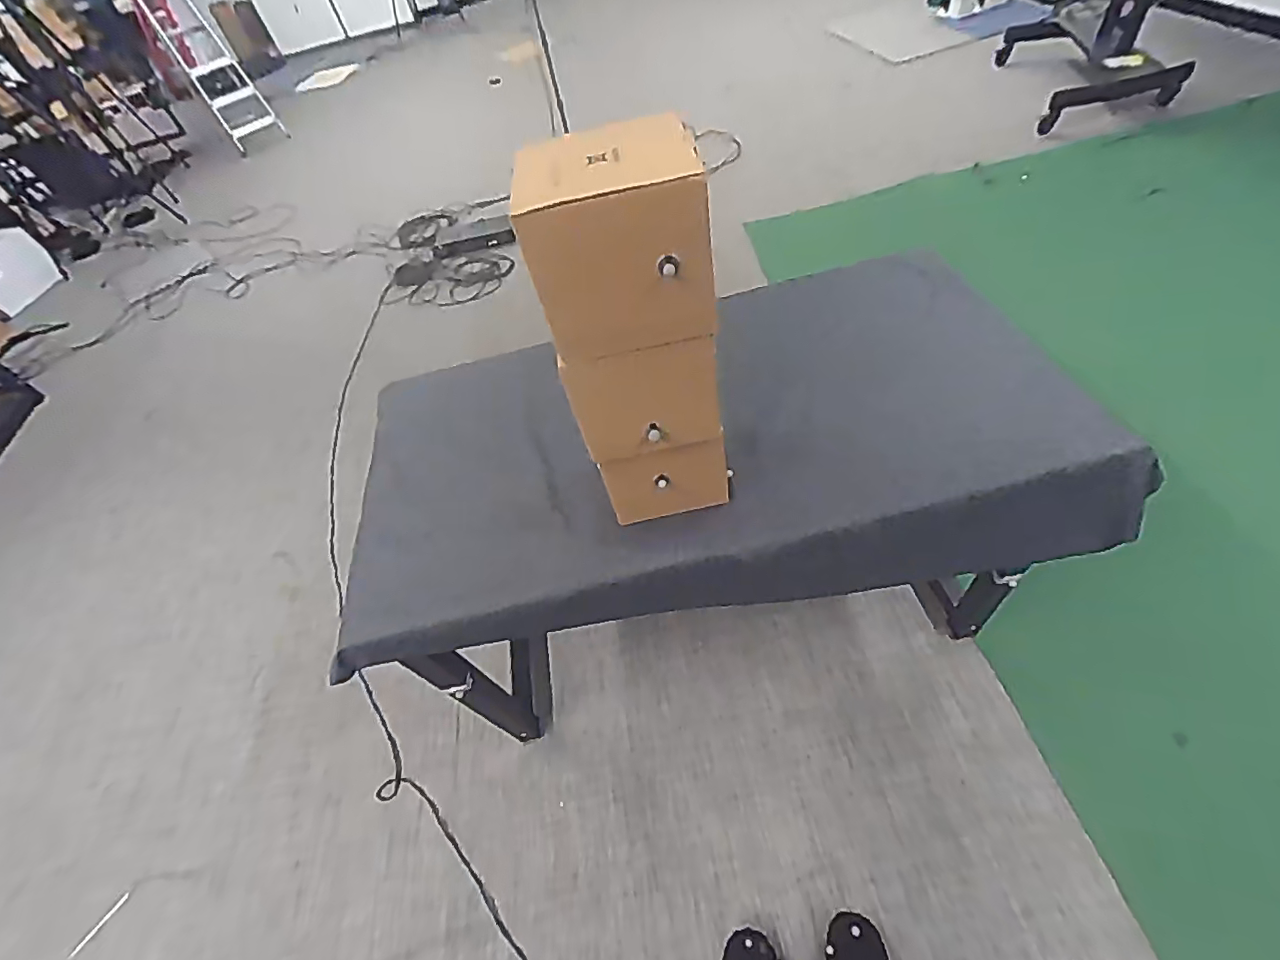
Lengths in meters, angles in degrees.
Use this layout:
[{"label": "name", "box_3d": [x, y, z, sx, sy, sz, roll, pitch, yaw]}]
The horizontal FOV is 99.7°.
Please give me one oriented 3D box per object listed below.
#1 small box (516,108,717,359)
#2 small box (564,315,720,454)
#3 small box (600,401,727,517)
[{"label": "small box", "box_3d": [-0.017, -0.256, 0.576, 0.179, 0.176, 0.168, -12, 50, 4]}, {"label": "small box", "box_3d": [0.004, -0.156, 0.704, 0.179, 0.176, 0.168, -11, 51, 3]}, {"label": "small box", "box_3d": [0.034, -0.065, 0.836, 0.179, 0.176, 0.168, -13, 51, 4]}]
